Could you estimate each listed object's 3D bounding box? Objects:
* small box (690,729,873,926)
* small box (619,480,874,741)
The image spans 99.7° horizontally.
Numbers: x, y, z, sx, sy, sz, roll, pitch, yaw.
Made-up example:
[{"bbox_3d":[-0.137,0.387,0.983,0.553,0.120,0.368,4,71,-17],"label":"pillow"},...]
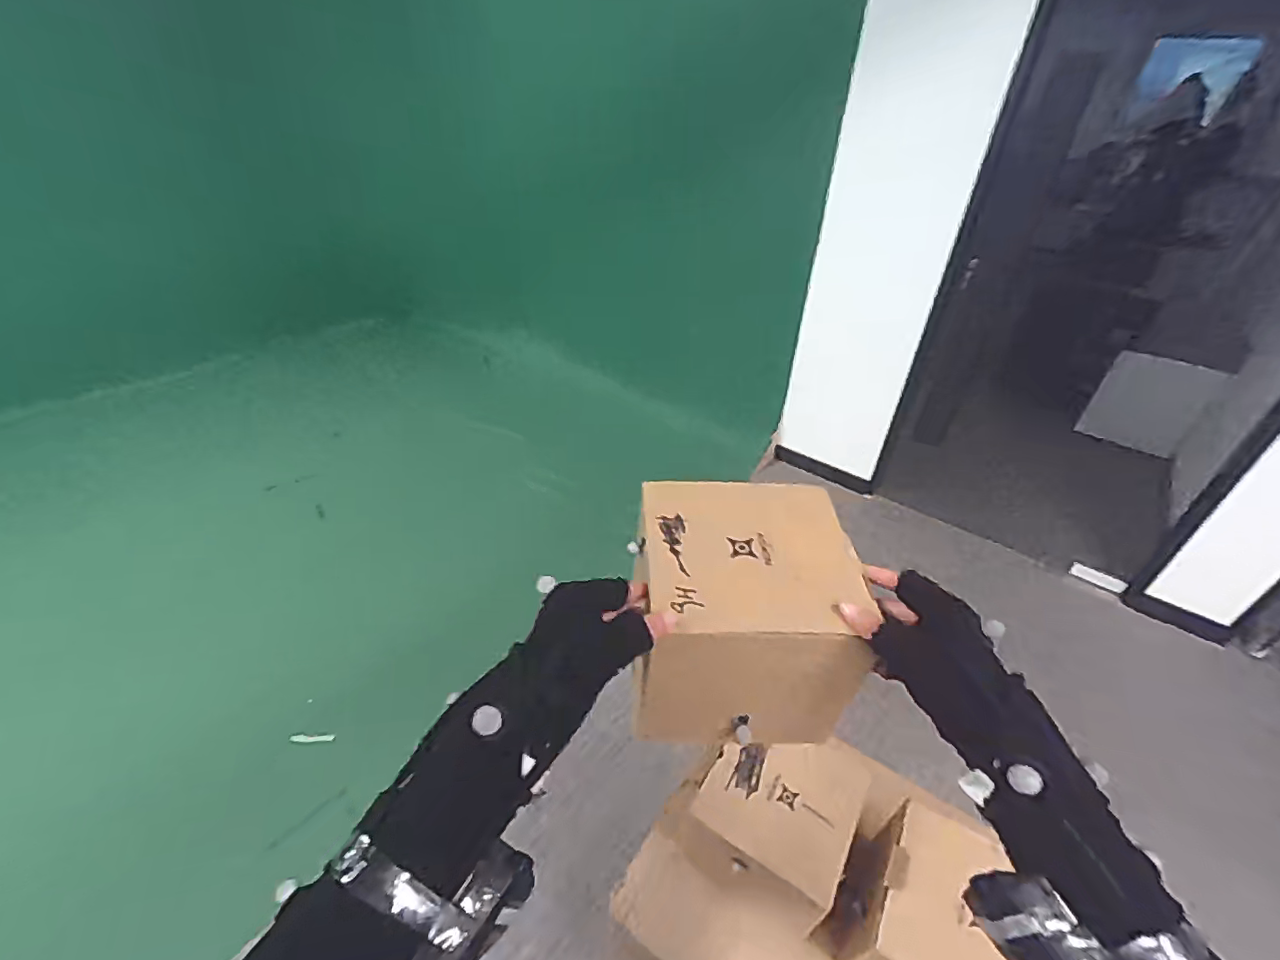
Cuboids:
[{"bbox_3d":[0.177,0.439,0.712,0.179,0.176,0.168,23,48,25],"label":"small box"},{"bbox_3d":[0.075,0.120,0.496,0.179,0.176,0.168,3,38,-6],"label":"small box"}]
